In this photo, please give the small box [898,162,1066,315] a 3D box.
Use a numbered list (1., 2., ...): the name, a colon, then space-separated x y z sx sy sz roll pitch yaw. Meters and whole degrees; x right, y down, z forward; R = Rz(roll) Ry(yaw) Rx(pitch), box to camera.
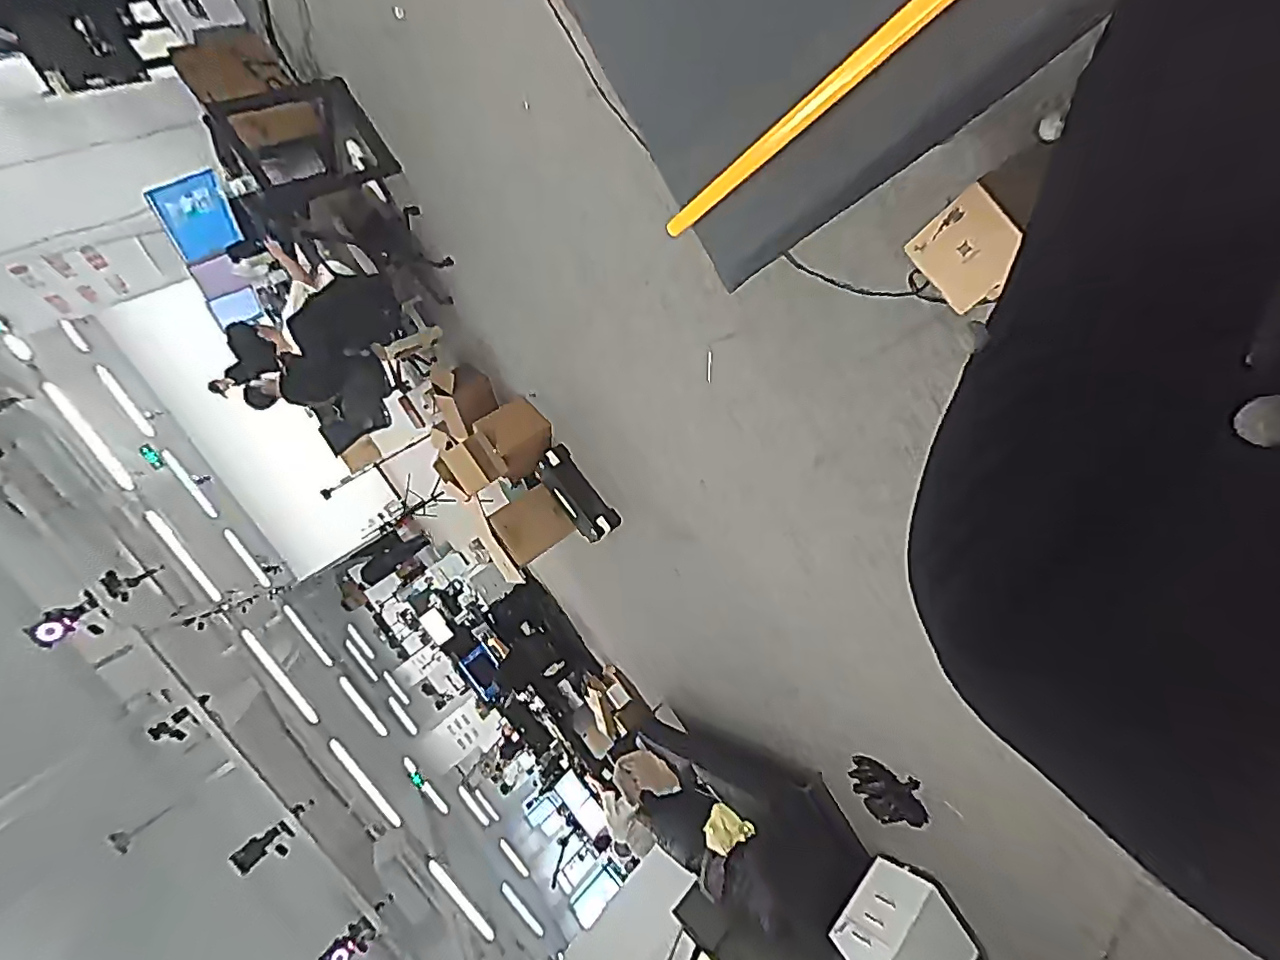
1. small box: 0.638 -0.451 1.010 0.179 0.176 0.168 51 155 5
